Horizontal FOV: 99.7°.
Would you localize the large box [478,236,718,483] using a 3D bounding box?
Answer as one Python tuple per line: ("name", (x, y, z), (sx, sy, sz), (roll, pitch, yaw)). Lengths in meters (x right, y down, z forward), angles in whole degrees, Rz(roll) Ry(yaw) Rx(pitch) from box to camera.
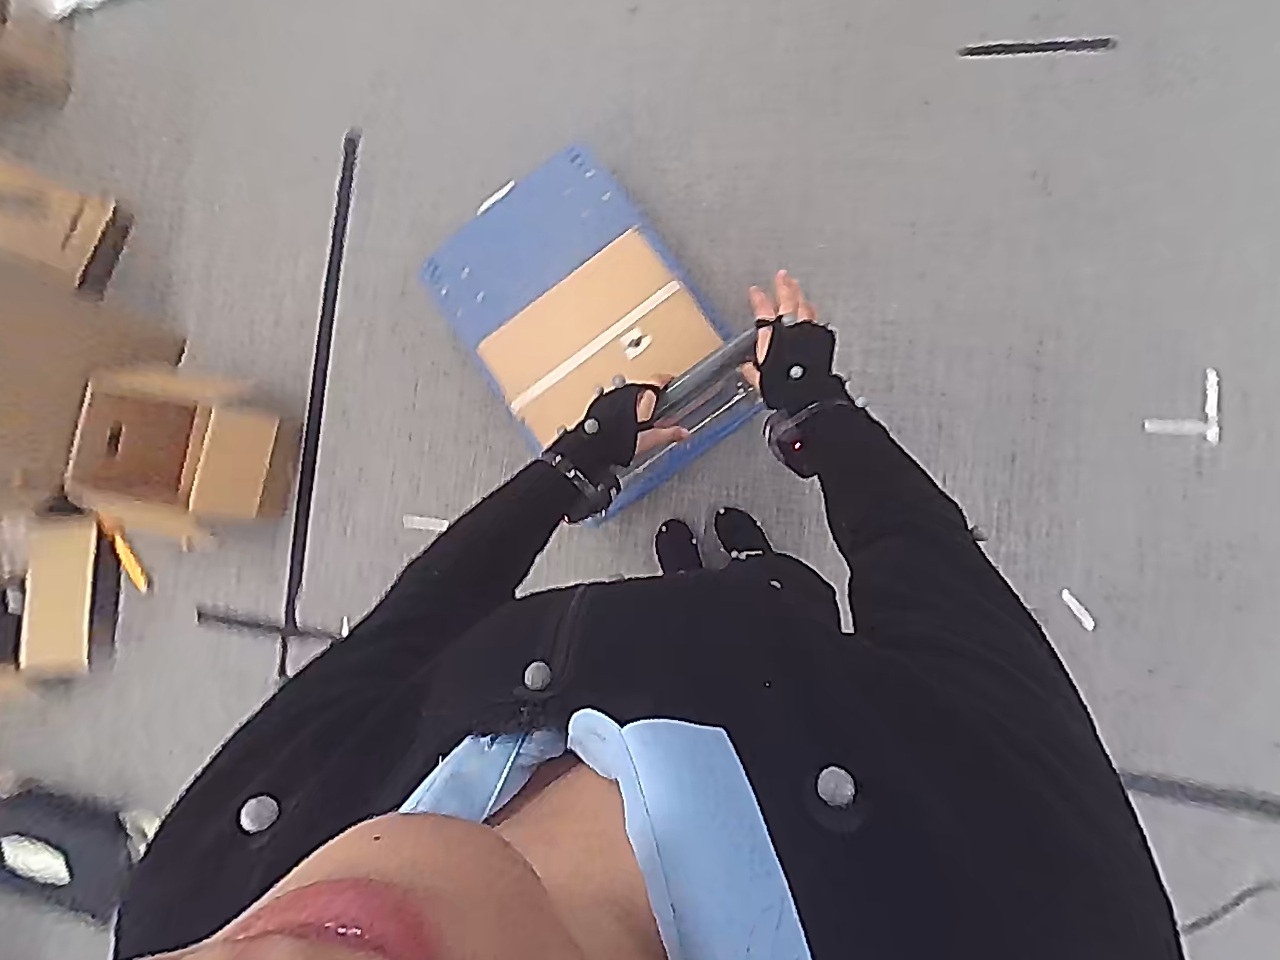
("large box", (-0.072, -0.239, 1.219), (0.408, 0.320, 0.320), (-36, 82, 4))
